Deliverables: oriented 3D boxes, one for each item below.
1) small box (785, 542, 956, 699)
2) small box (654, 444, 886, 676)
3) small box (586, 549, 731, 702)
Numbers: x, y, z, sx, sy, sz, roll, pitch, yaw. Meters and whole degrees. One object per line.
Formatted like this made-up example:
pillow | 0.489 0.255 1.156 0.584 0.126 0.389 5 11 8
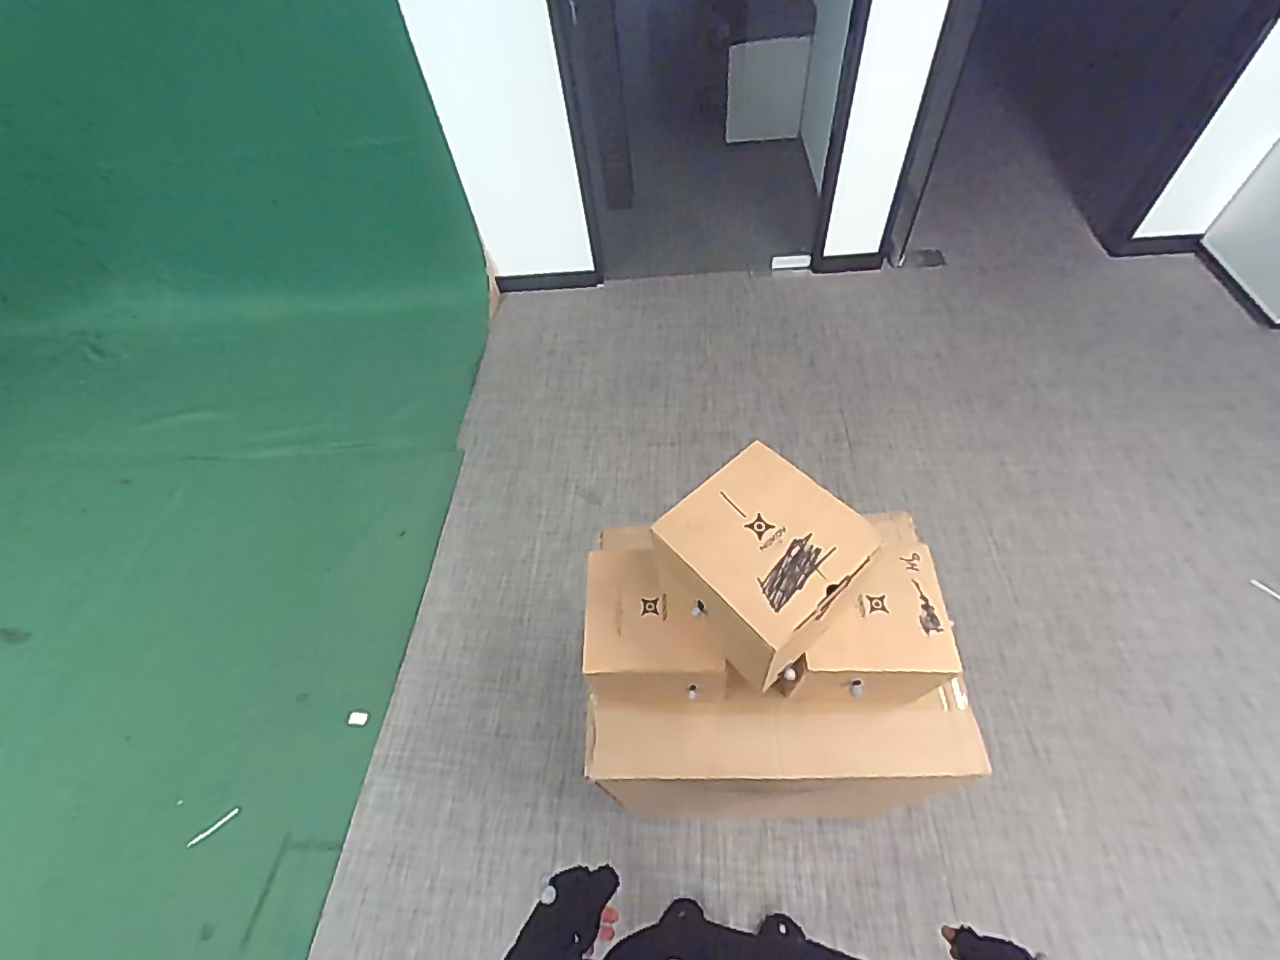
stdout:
small box | 0.288 0.196 0.735 0.179 0.176 0.168 -2 57 6
small box | 0.138 0.099 0.618 0.168 0.176 0.179 -37 59 -17
small box | 0.028 0.207 0.757 0.179 0.176 0.168 -4 55 5
